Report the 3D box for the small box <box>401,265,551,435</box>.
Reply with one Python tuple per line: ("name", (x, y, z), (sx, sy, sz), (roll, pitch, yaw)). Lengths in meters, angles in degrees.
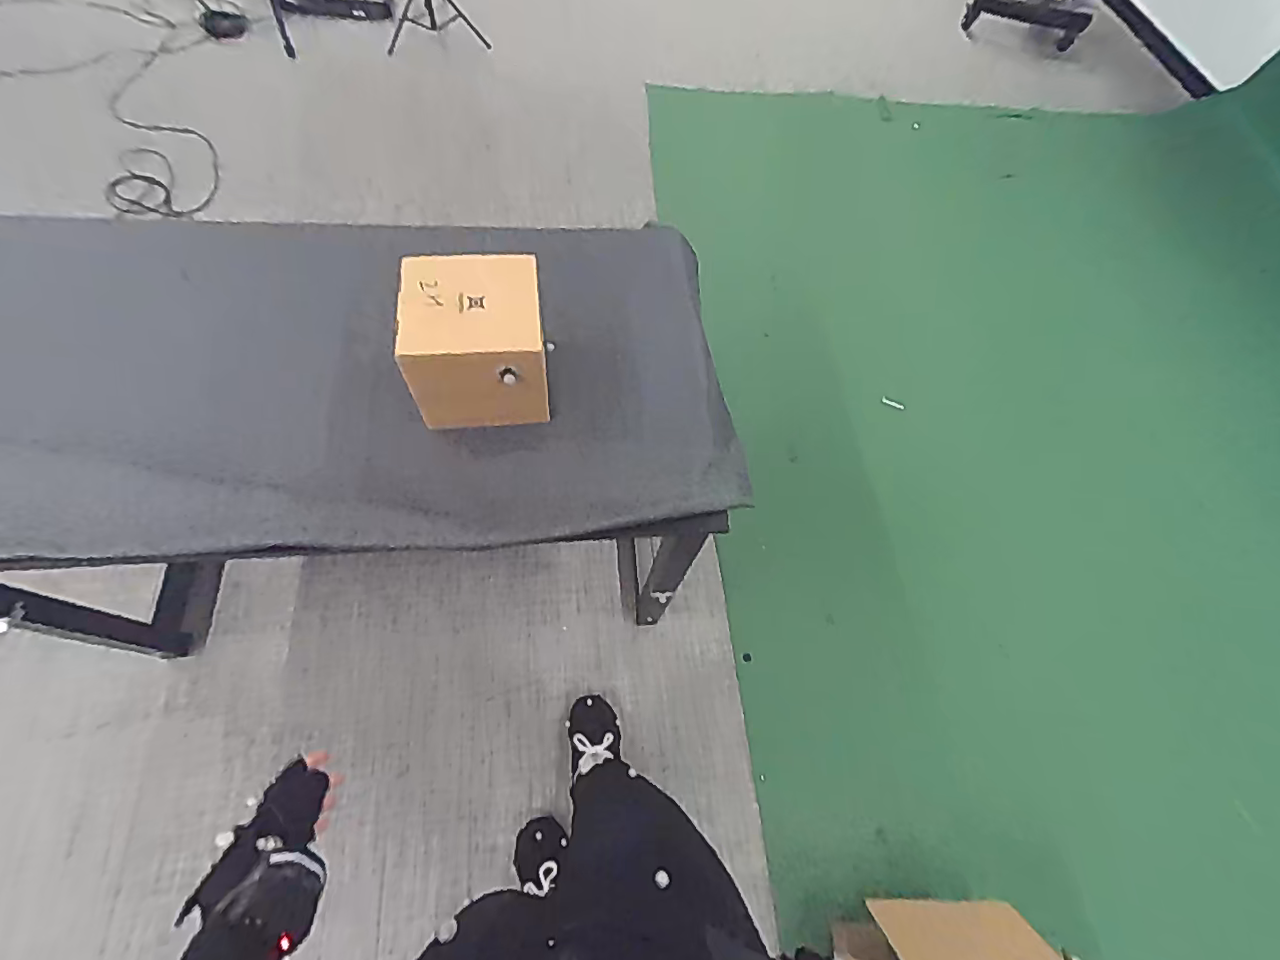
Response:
("small box", (-0.217, -0.177, 0.760), (0.179, 0.176, 0.168), (-4, 63, -8))
